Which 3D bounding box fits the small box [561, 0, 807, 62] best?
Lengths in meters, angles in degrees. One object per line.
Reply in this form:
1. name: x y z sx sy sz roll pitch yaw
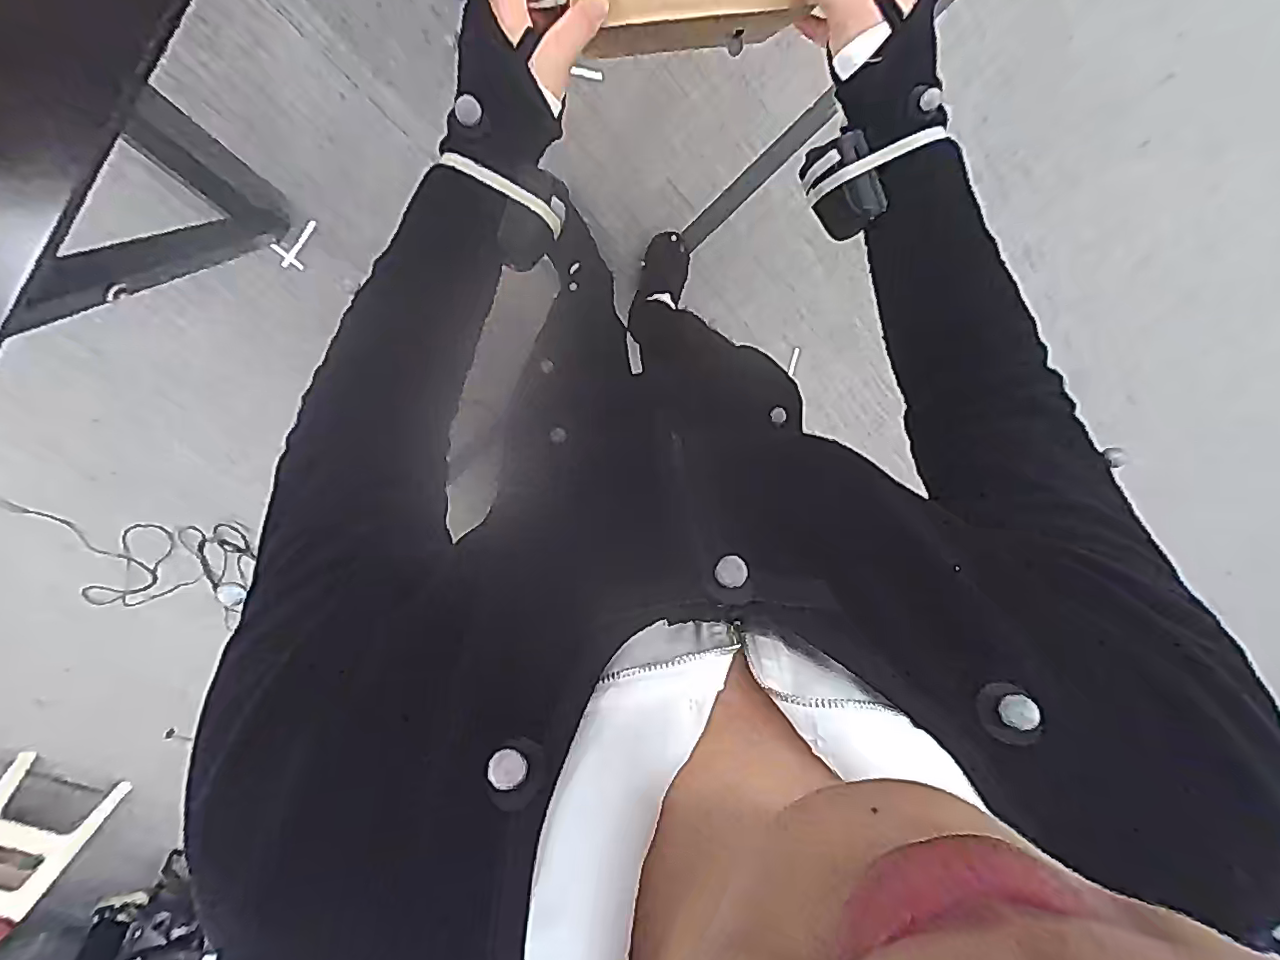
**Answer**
1. small box: 0.021 -0.435 0.407 0.179 0.176 0.168 -7 122 1
